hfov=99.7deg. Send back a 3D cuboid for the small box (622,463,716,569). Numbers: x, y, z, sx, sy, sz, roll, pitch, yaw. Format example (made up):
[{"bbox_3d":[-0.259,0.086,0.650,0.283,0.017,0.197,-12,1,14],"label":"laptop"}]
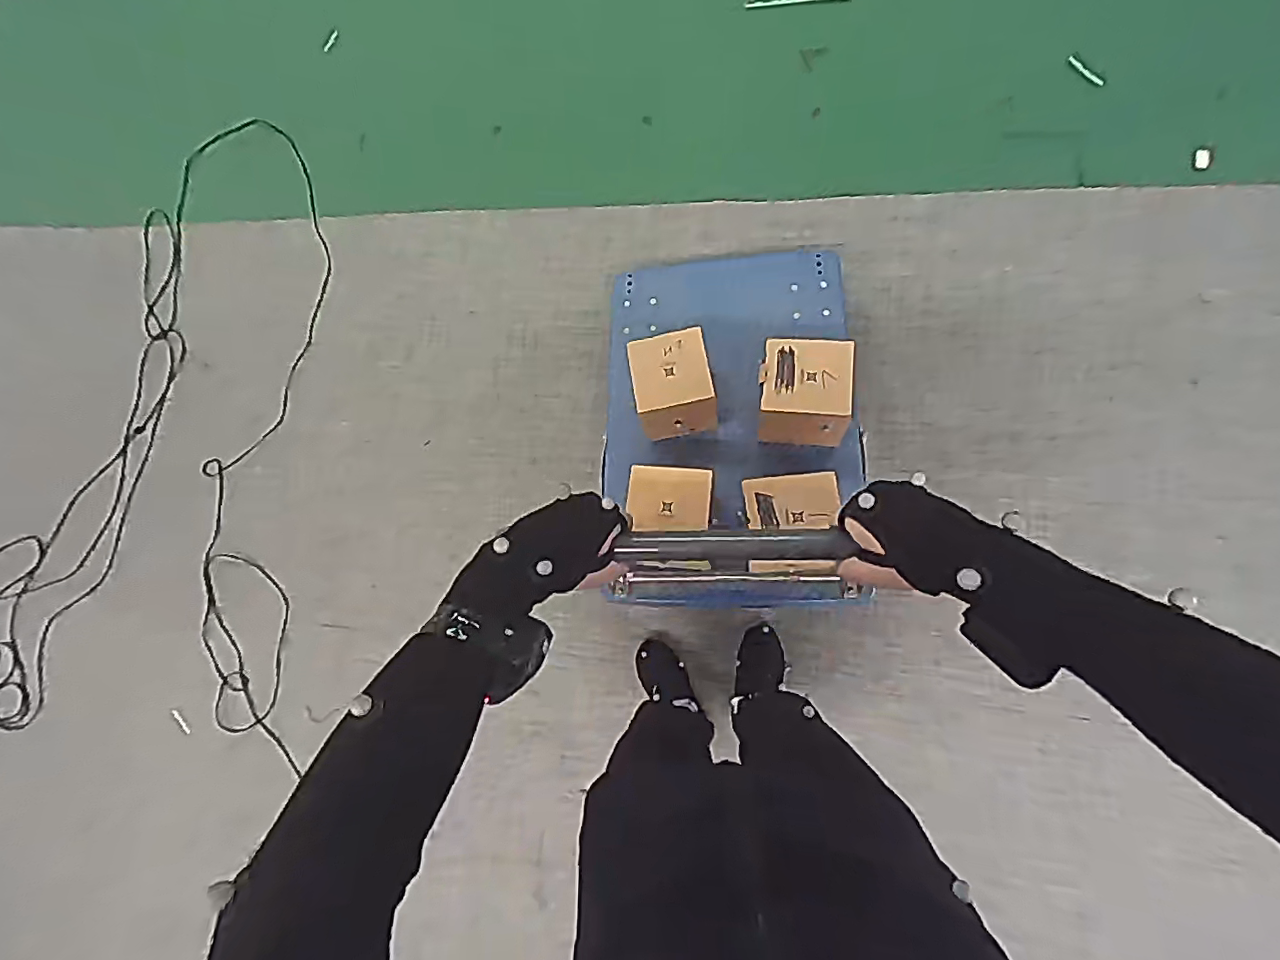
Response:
[{"bbox_3d":[0.068,0.078,1.125,0.168,0.176,0.179,4,73,12],"label":"small box"}]

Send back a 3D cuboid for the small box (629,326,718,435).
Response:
[{"bbox_3d":[0.079,-0.213,1.216,0.168,0.176,0.179,-10,71,6],"label":"small box"}]

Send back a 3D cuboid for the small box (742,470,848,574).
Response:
[{"bbox_3d":[0.299,0.090,1.074,0.179,0.176,0.168,-5,72,8],"label":"small box"}]
